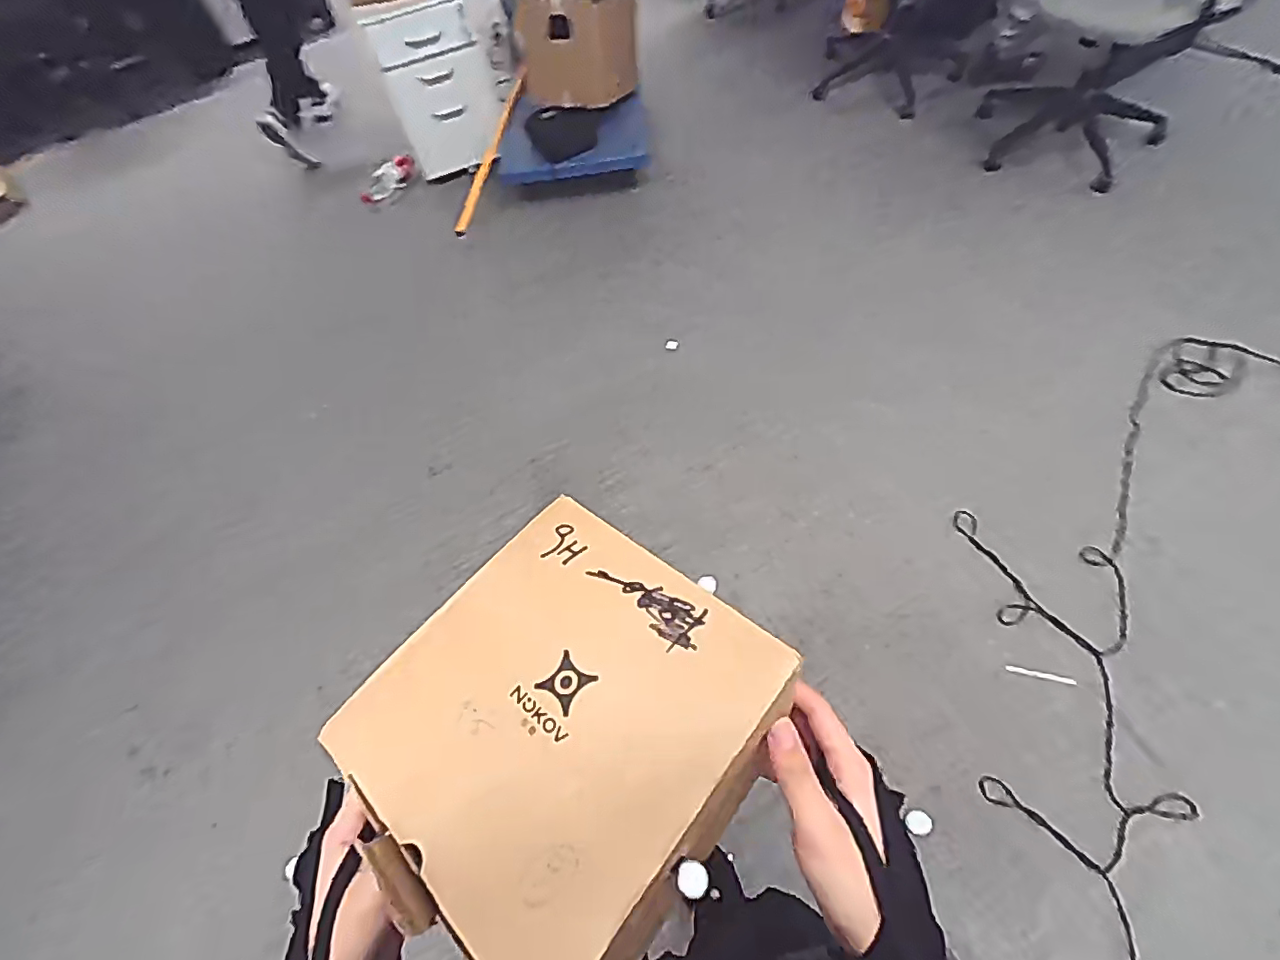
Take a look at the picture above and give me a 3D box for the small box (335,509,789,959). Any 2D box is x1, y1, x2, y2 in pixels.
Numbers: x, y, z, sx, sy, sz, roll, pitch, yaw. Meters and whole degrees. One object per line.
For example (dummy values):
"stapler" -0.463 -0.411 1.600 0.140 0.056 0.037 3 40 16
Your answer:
"small box" -0.027 0.158 0.326 0.168 0.176 0.179 31 66 30
